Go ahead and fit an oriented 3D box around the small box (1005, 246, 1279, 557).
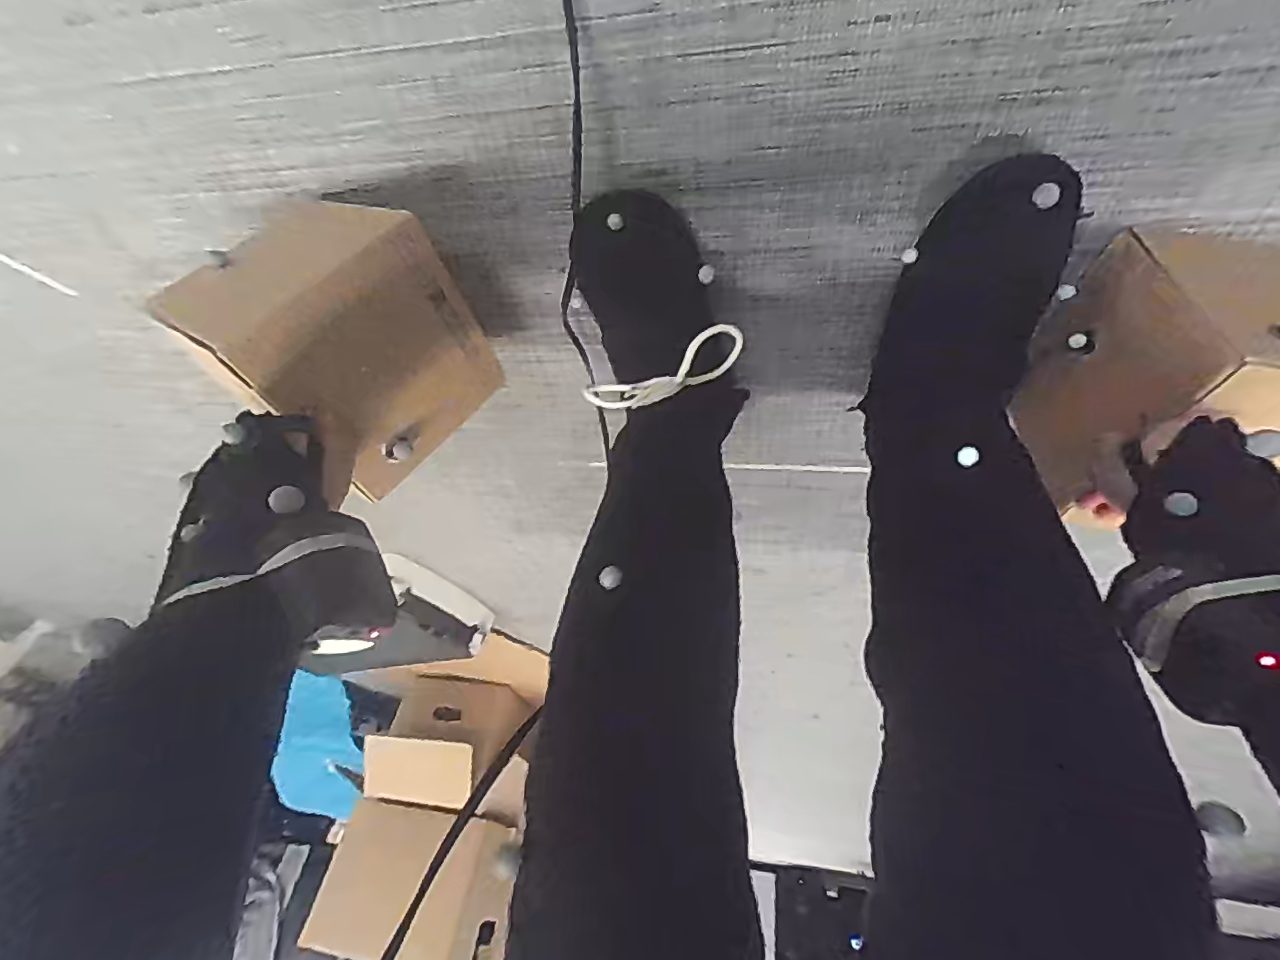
[{"bbox_3d":[0.442,-0.062,0.429,0.179,0.176,0.168,9,141,1],"label":"small box"}]
